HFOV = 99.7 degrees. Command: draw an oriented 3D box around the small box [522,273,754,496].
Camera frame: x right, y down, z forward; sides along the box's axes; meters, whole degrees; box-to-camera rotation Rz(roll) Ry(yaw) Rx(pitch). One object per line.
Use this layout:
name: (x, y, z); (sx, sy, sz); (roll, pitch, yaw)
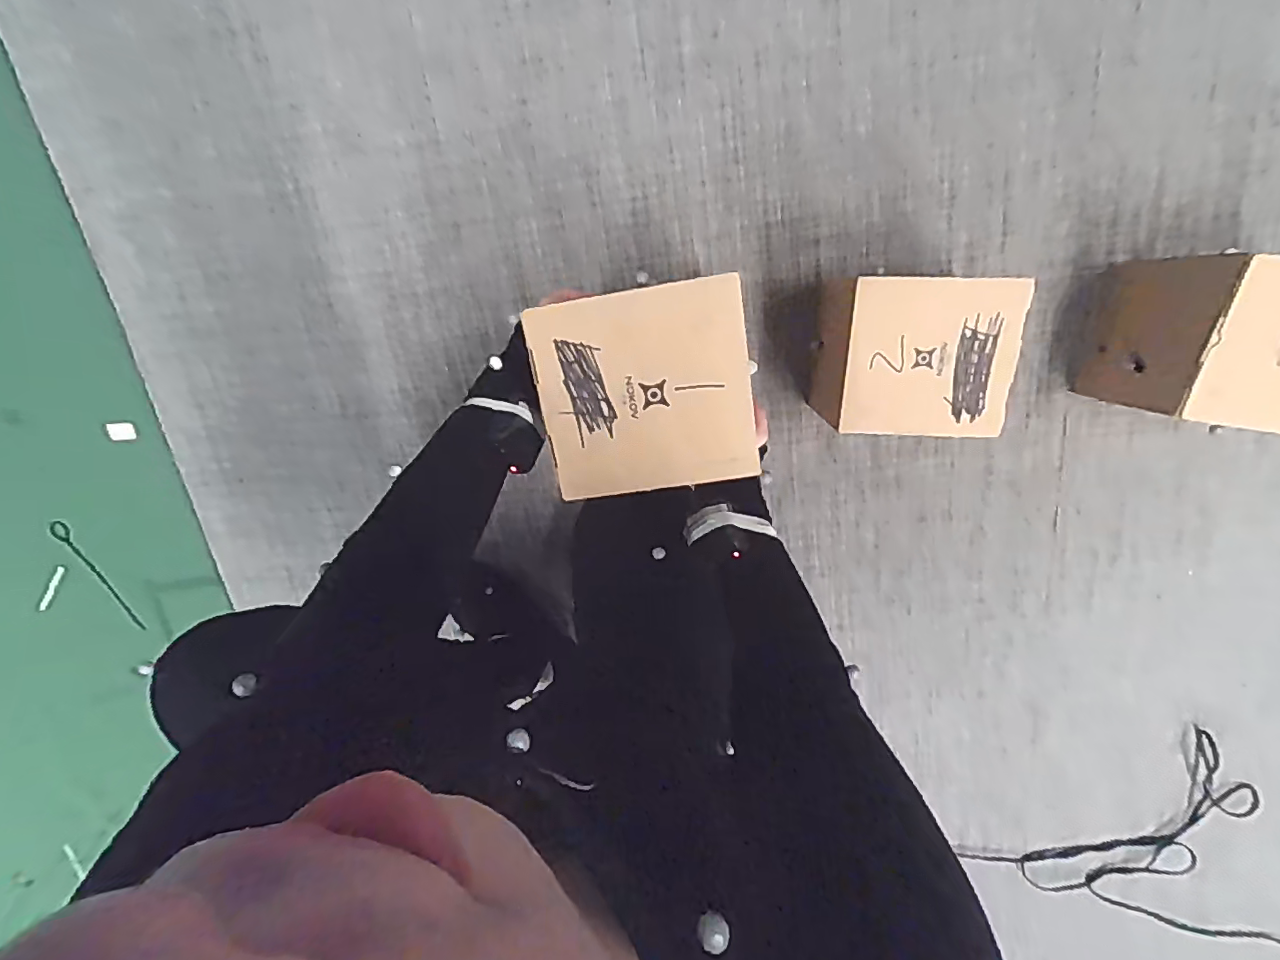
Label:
small box: (0.008, -0.095, 0.519); (0.179, 0.176, 0.168); (-7, 108, 7)

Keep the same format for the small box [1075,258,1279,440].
small box: (0.658, -0.148, 0.615); (0.179, 0.176, 0.168); (9, 110, 2)
